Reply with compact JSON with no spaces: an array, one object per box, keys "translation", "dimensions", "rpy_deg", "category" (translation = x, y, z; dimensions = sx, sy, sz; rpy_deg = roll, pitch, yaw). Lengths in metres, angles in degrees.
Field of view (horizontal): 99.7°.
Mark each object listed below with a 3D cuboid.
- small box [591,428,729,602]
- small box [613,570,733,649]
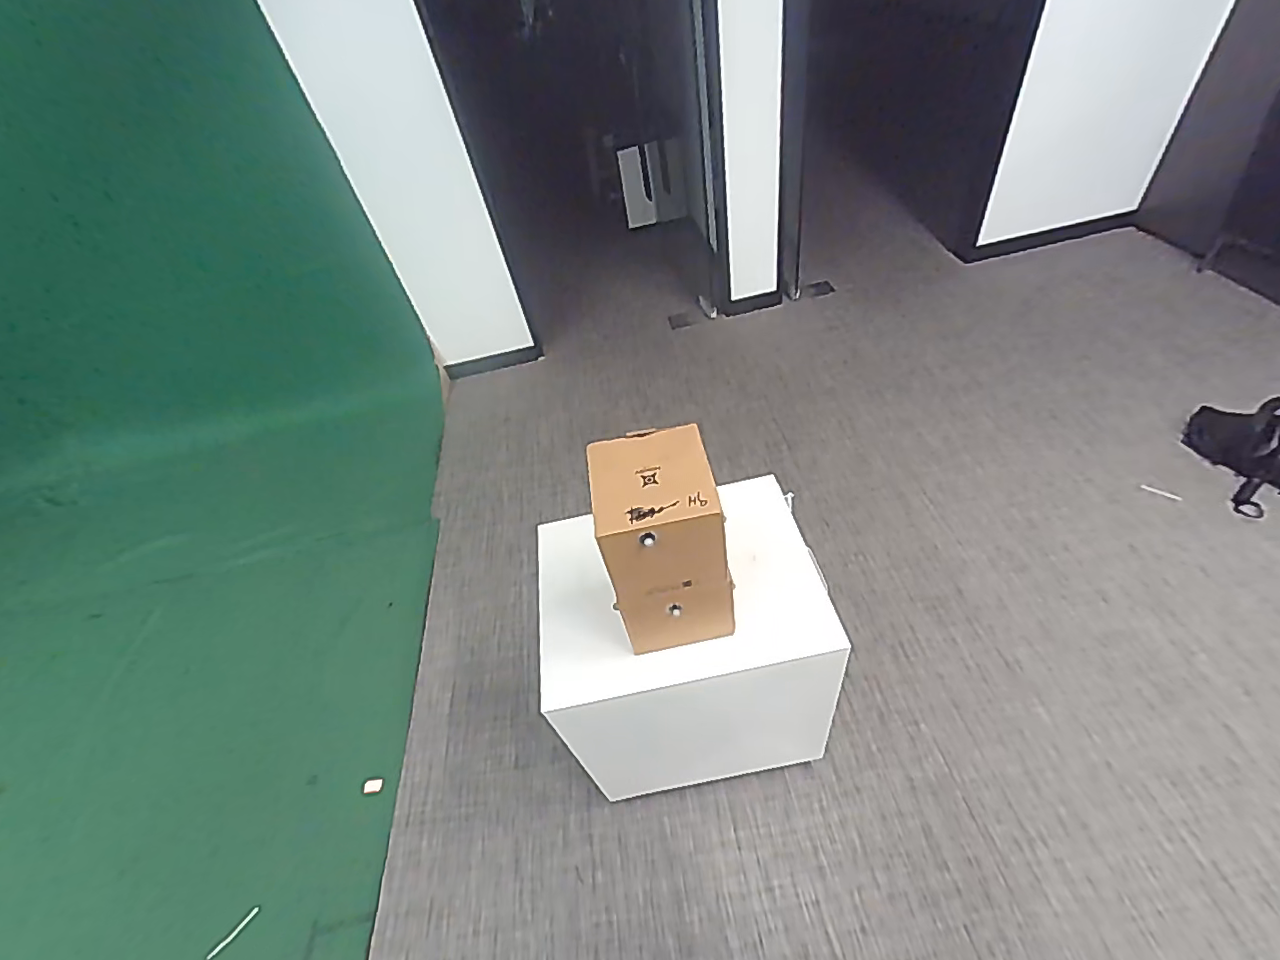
[{"translation":[0.029,0.052,0.800],"dimensions":[0.168,0.176,0.179],"rpy_deg":[-12,46,-1],"category":"small box"},{"translation":[0.052,0.165,0.913],"dimensions":[0.179,0.176,0.168],"rpy_deg":[-12,46,0],"category":"small box"}]
